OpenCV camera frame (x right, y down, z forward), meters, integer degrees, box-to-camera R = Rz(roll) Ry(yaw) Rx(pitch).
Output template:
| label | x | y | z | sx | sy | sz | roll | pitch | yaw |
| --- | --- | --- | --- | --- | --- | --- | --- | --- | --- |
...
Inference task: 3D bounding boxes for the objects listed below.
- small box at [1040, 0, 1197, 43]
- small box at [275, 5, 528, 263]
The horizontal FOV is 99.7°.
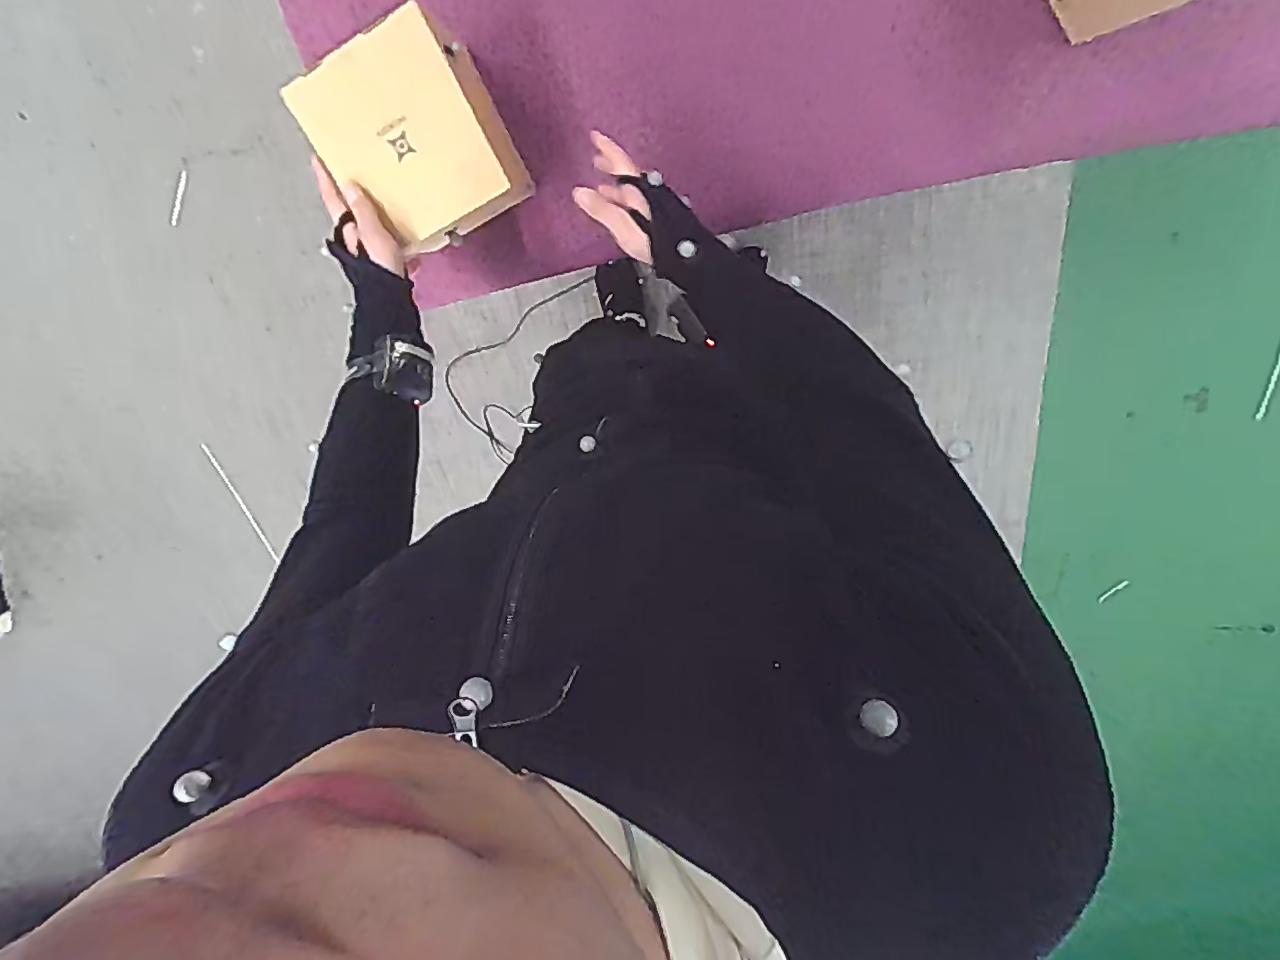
| label | x | y | z | sx | sy | sz | roll | pitch | yaw |
| --- | --- | --- | --- | --- | --- | --- | --- | --- | --- |
| small box | 0.513 | -0.582 | 0.521 | 0.168 | 0.176 | 0.179 | 41 | 111 | -18 |
| small box | -0.248 | -0.375 | 0.618 | 0.168 | 0.176 | 0.179 | -24 | 114 | 11 |
